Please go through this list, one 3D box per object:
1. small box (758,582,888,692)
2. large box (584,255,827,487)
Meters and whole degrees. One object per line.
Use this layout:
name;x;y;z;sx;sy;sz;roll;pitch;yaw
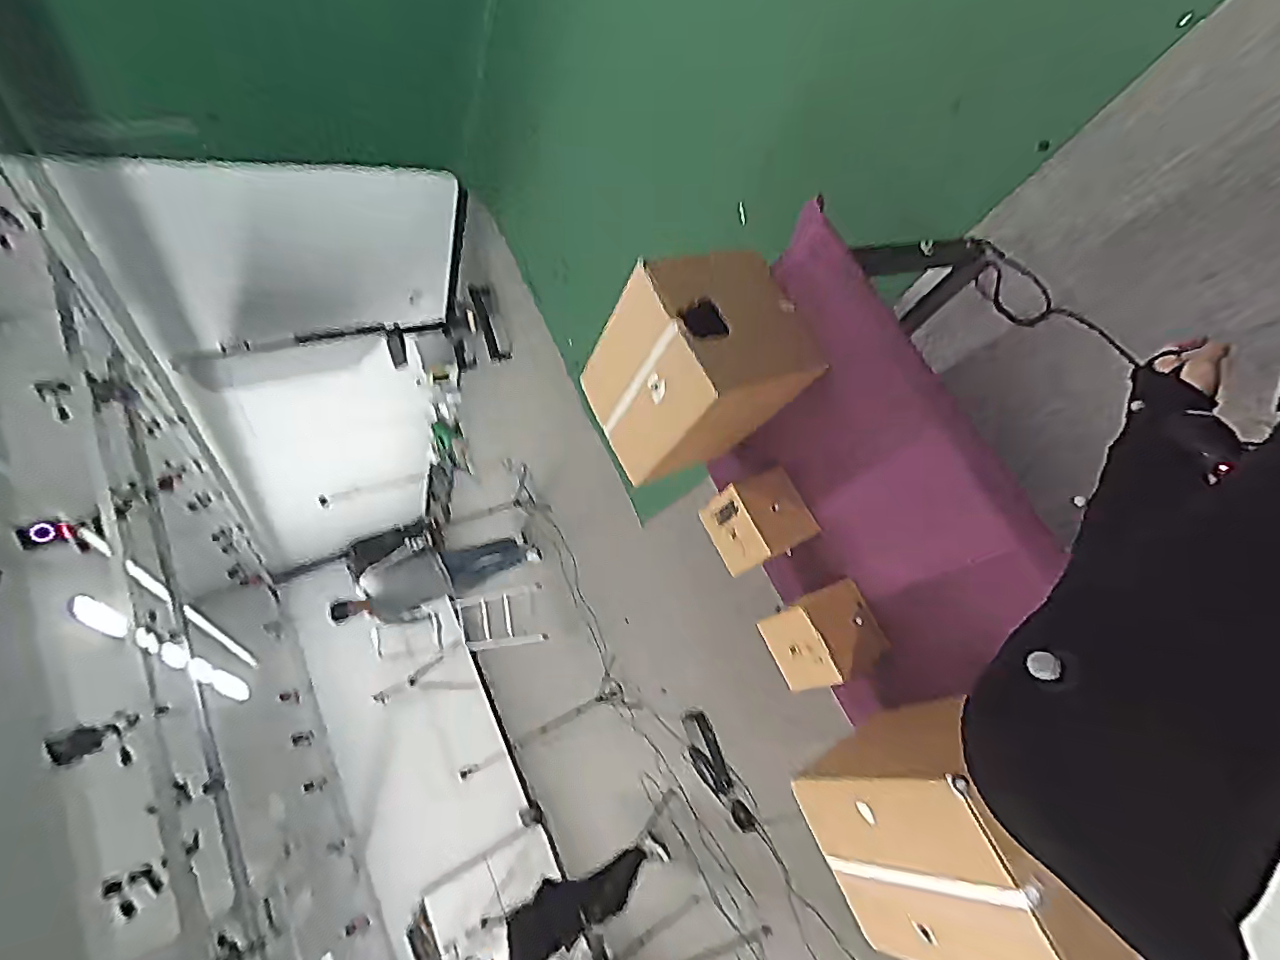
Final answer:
small box;0.404;0.348;1.200;0.168;0.176;0.179;62;148;14
large box;0.123;-0.236;1.213;0.320;0.320;0.408;62;147;14
